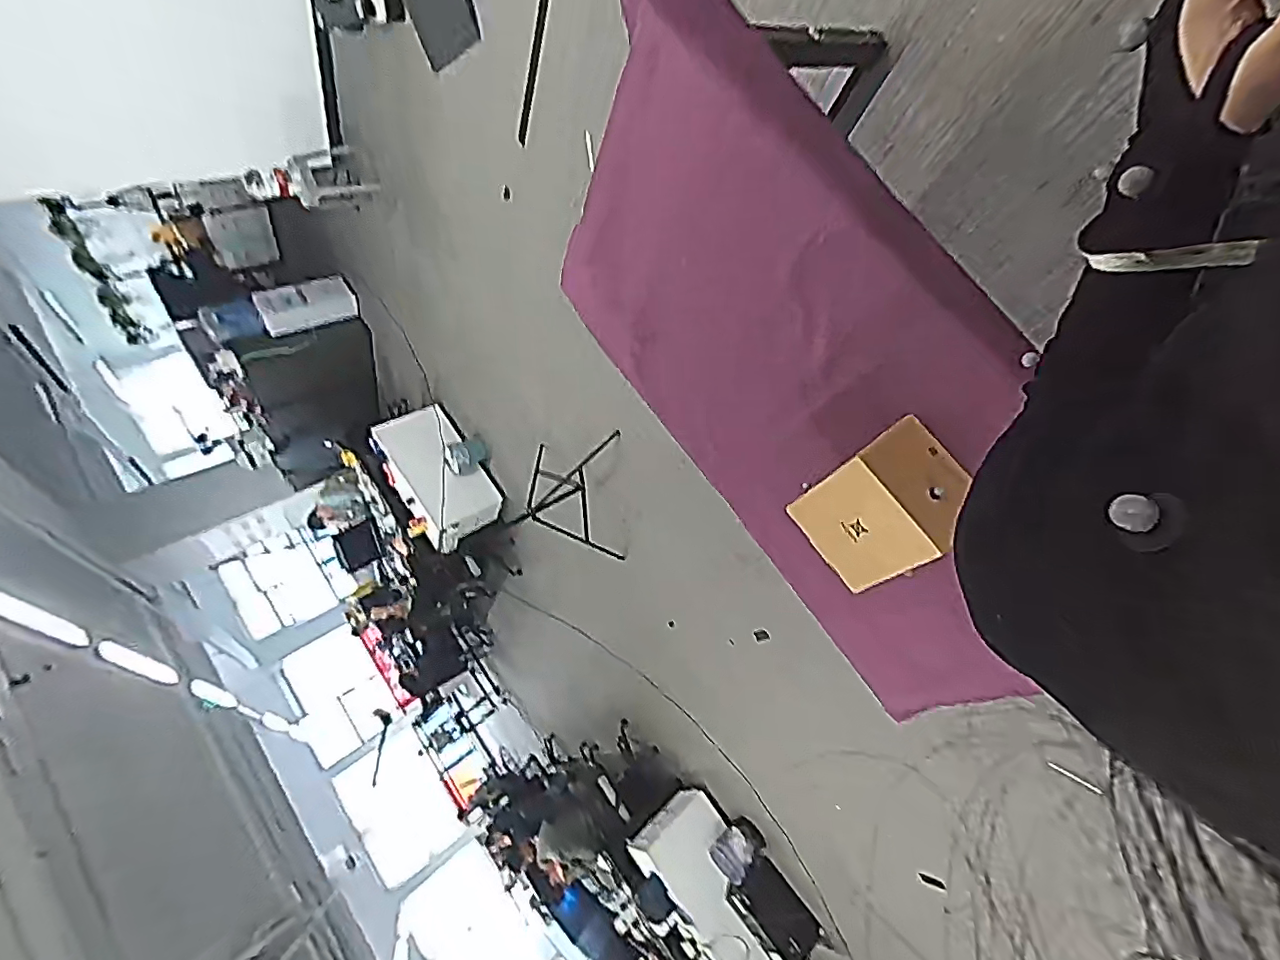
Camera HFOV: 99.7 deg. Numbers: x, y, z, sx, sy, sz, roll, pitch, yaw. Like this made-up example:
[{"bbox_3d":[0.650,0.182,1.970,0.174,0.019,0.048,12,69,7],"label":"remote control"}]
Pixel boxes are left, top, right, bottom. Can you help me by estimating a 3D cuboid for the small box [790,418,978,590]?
[{"bbox_3d":[0.373,0.034,0.820,0.168,0.176,0.179,52,148,11],"label":"small box"}]
